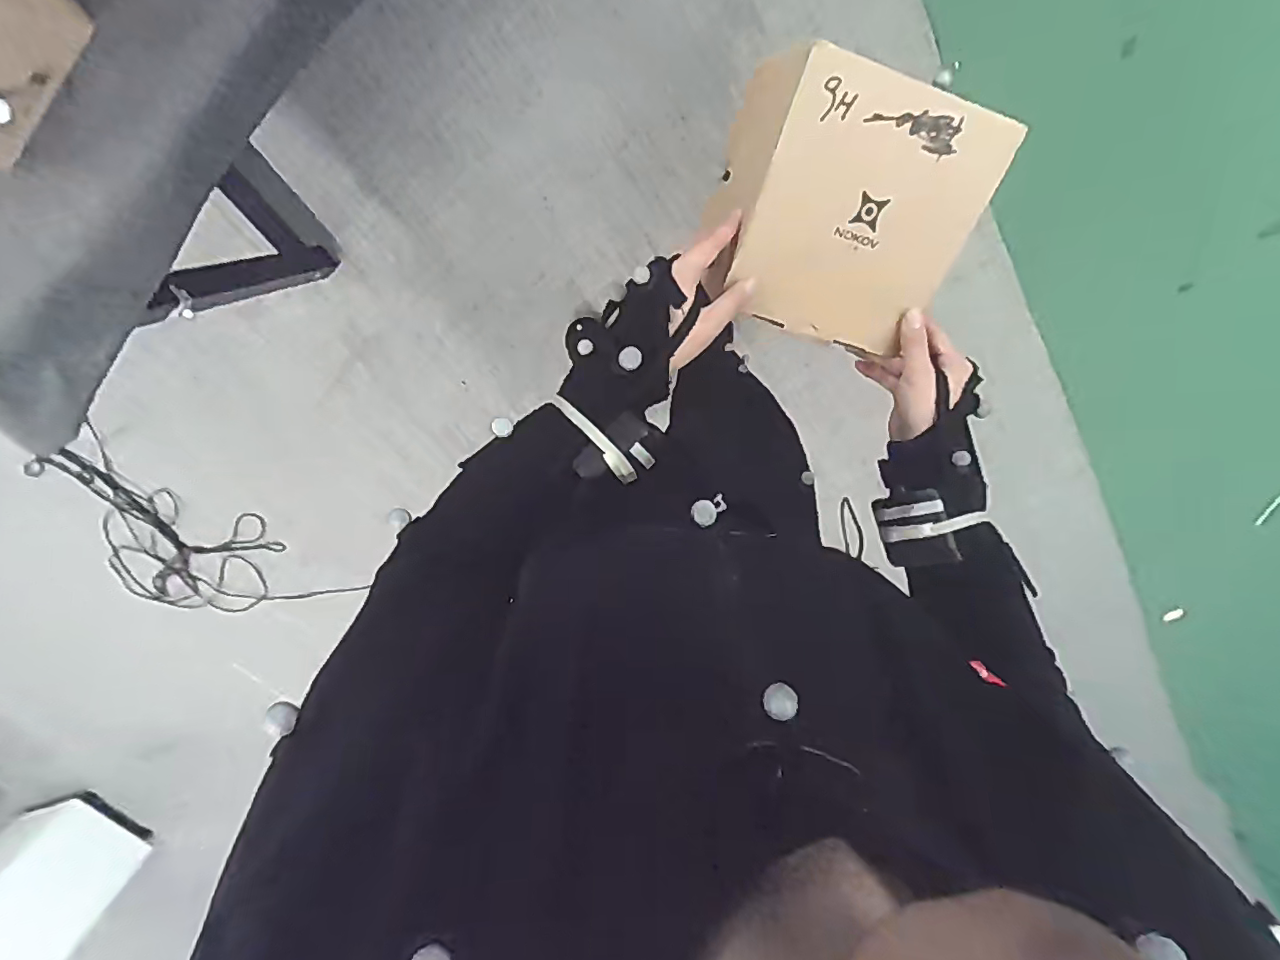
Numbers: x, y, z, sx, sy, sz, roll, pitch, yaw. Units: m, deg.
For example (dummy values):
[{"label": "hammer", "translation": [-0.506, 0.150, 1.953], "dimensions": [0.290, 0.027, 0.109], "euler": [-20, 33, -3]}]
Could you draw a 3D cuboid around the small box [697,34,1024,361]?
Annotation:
[{"label": "small box", "translation": [0.153, -0.230, 0.455], "dimensions": [0.168, 0.176, 0.179], "euler": [13, 122, -11]}]
